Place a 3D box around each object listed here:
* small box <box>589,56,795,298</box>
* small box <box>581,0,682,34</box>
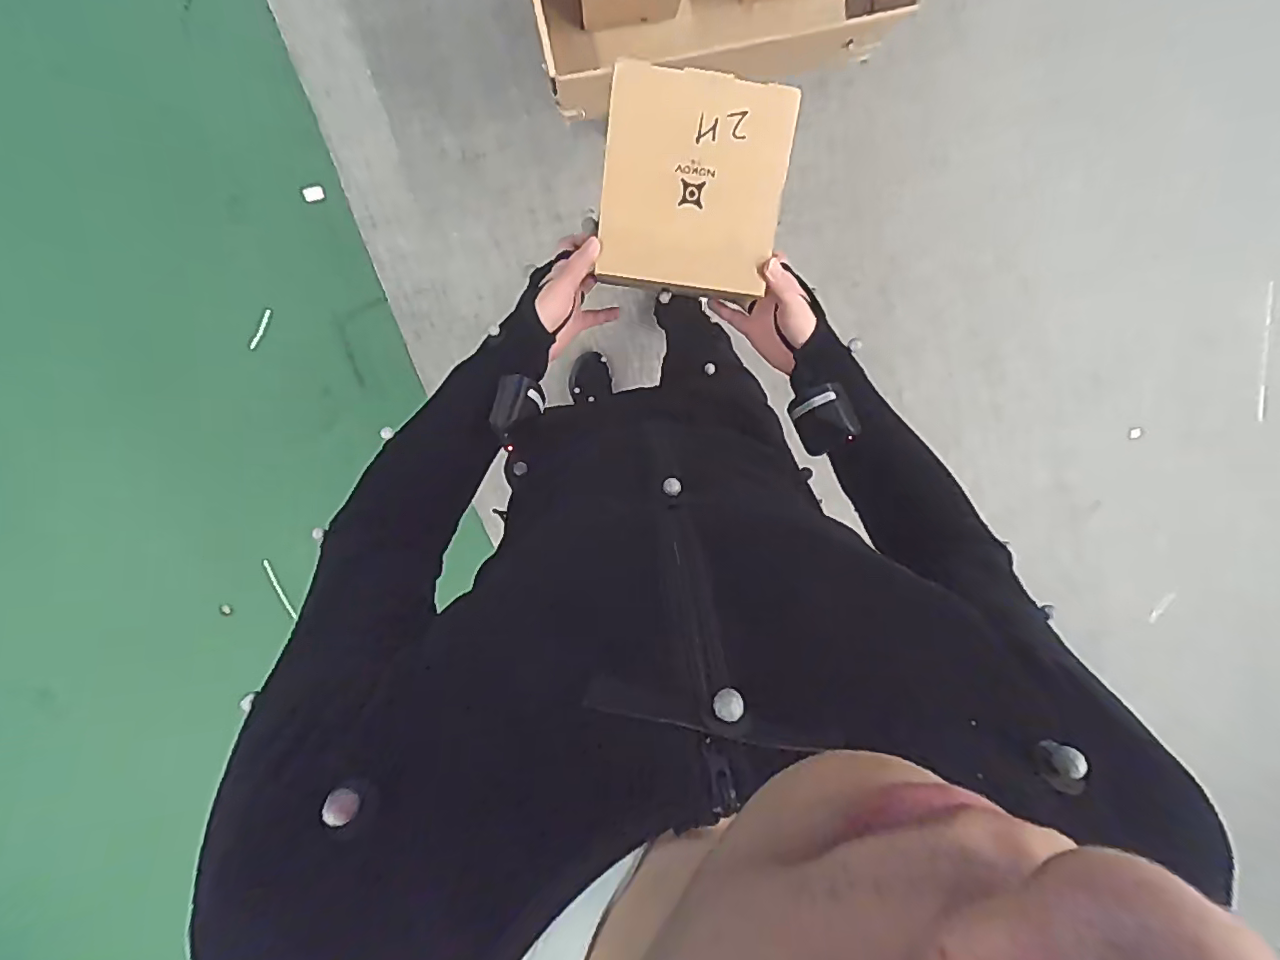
[{"bbox_3d":[0.042,-0.292,0.566,0.168,0.176,0.179,6,106,-5],"label":"small box"},{"bbox_3d":[-0.021,-0.849,0.844,0.168,0.176,0.179,-9,108,-1],"label":"small box"}]
